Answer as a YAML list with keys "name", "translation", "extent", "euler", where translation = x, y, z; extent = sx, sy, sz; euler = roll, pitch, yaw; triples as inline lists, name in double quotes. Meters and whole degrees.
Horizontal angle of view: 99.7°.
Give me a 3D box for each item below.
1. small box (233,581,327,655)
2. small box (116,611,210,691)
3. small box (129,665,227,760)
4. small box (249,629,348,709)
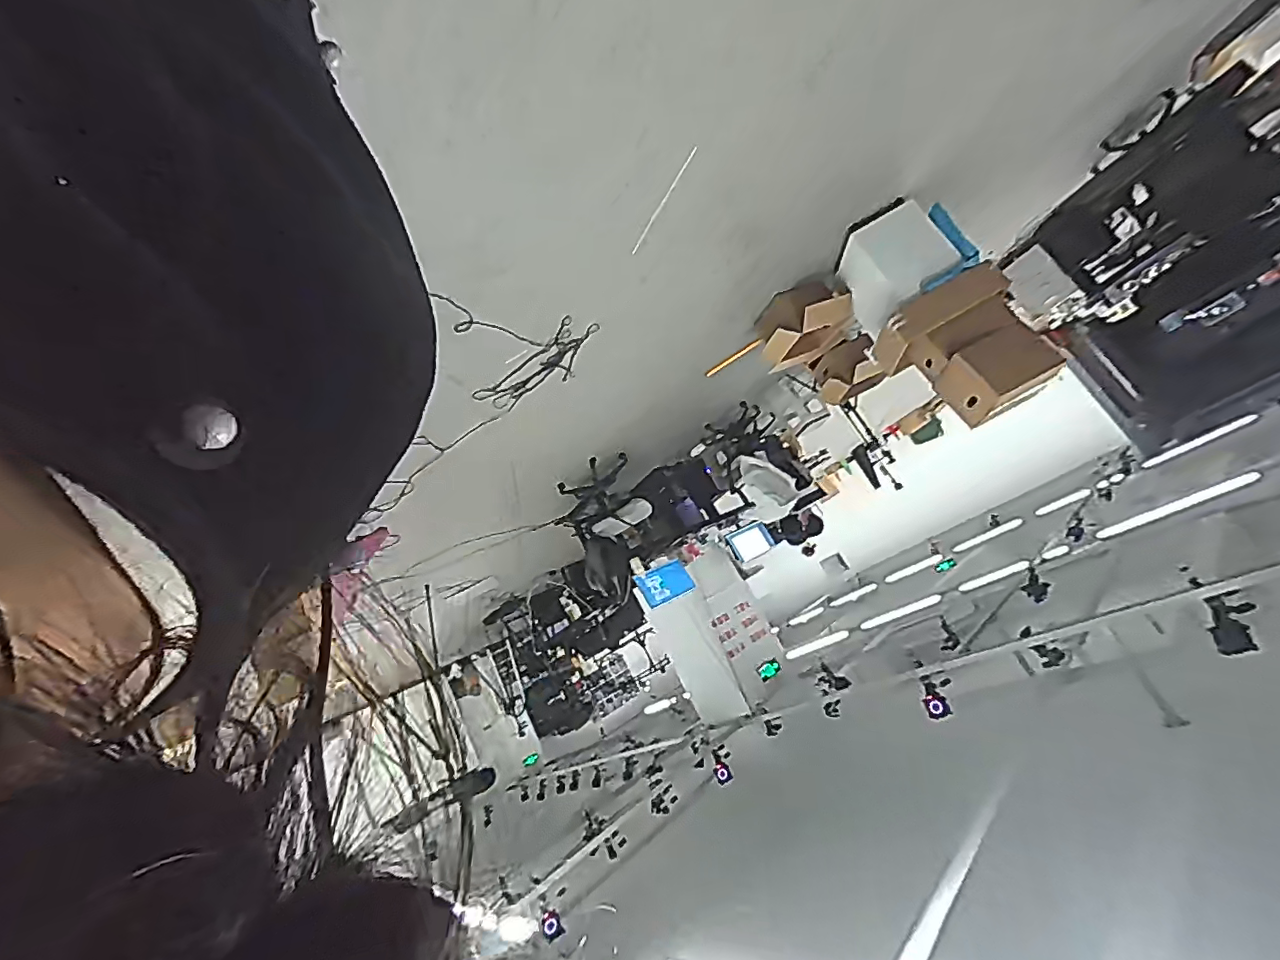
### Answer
- name: "small box"
  translation: [-1.125, 0.434, 1.696]
  extent: [0.179, 0.176, 0.168]
  euler: [-24, 165, -19]
- name: "small box"
  translation: [-1.322, 0.487, 1.503]
  extent: [0.168, 0.176, 0.179]
  euler: [-16, 161, -44]
- name: "small box"
  translation: [-1.237, 0.616, 1.451]
  extent: [0.168, 0.176, 0.179]
  euler: [-17, 163, -44]
- name: "small box"
  translation: [-1.038, 0.566, 1.646]
  extent: [0.179, 0.176, 0.168]
  euler: [-26, 166, -7]
